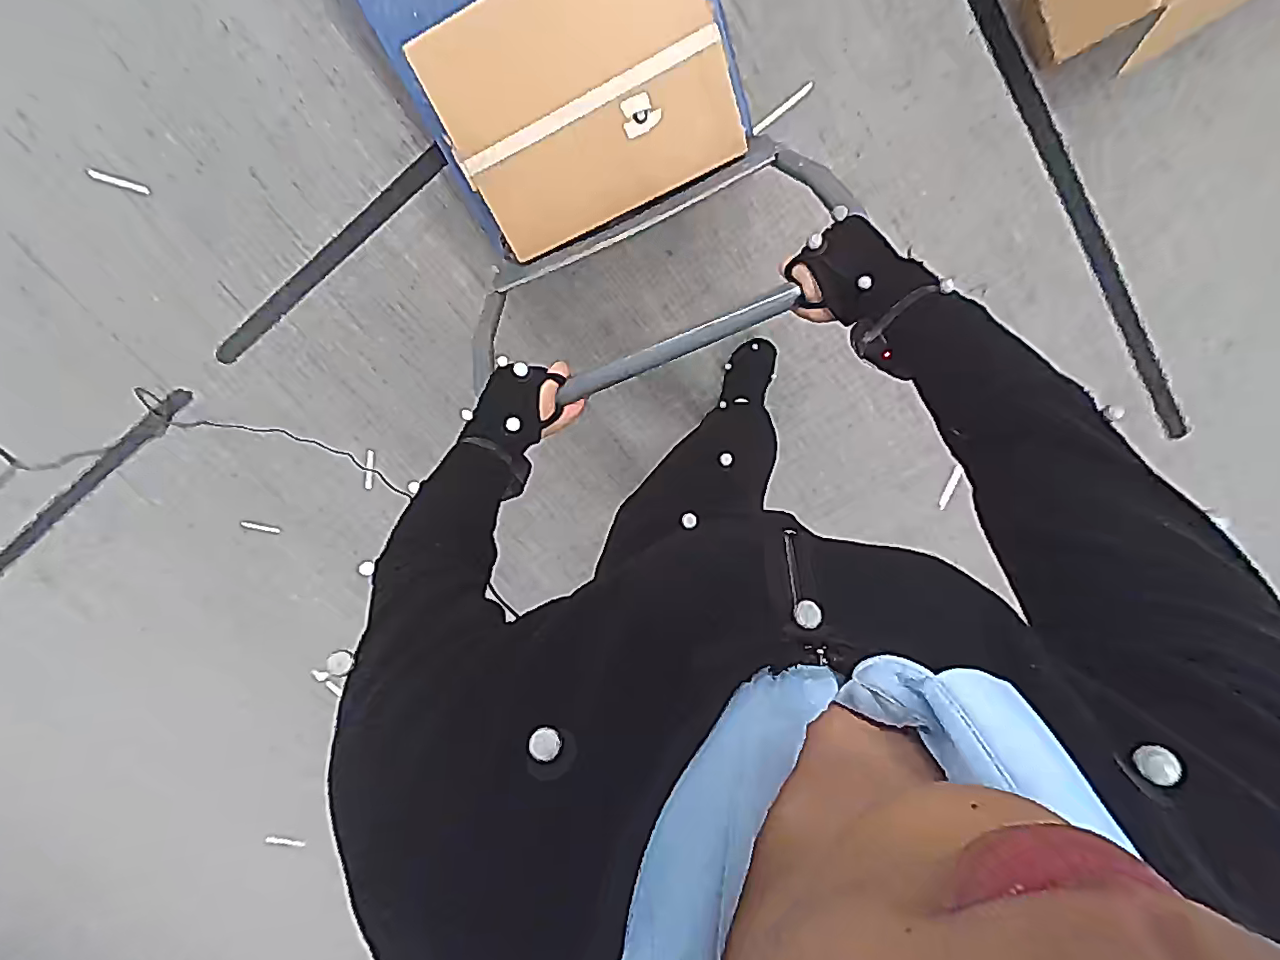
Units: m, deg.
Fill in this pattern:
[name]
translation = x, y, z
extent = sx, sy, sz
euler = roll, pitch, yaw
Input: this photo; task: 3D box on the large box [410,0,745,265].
[large box]
translation = -0.090, -0.624, 0.905
extent = 0.408, 0.320, 0.320
euler = -22, 124, 10
